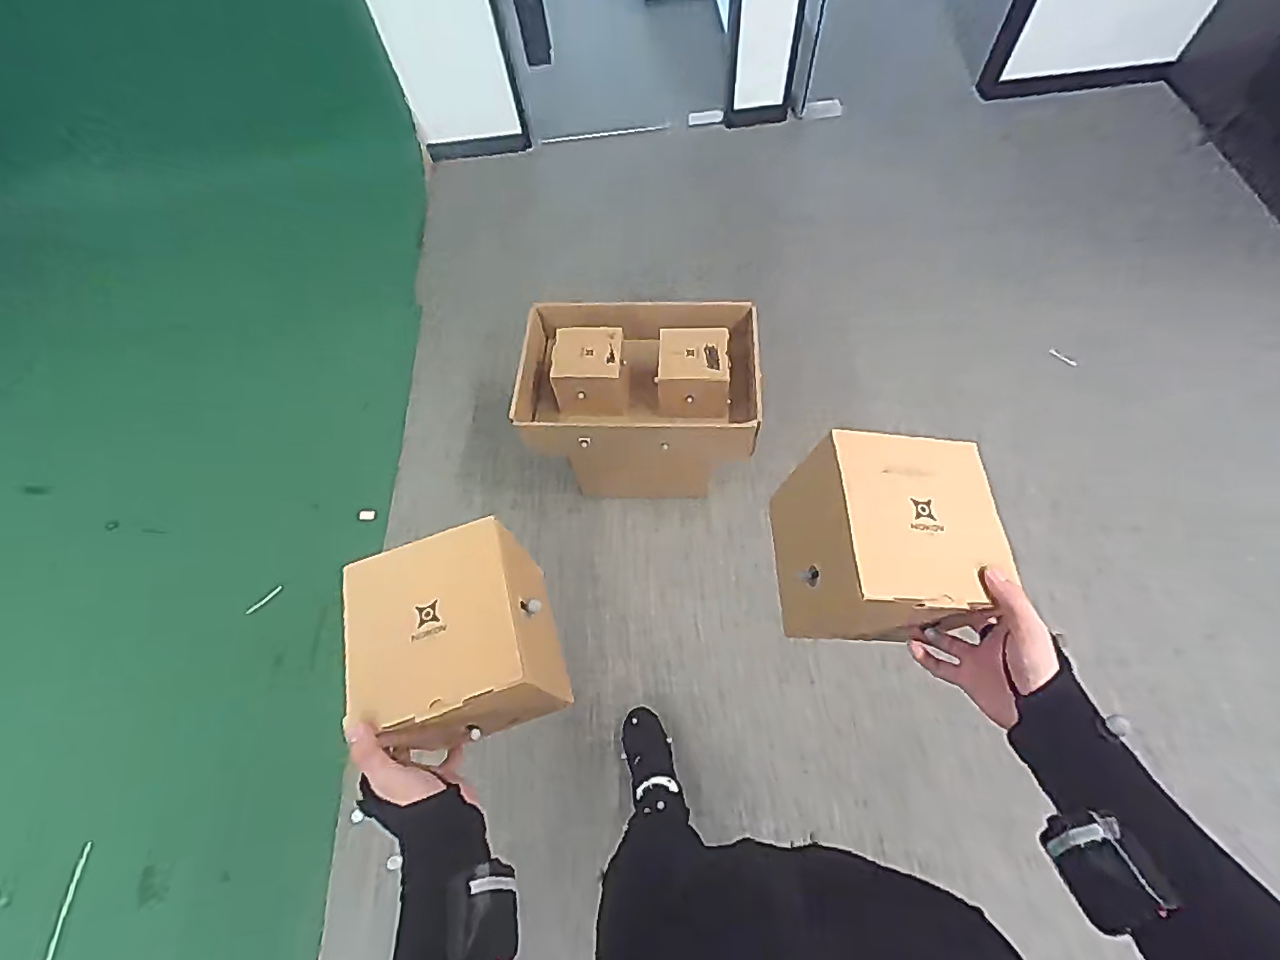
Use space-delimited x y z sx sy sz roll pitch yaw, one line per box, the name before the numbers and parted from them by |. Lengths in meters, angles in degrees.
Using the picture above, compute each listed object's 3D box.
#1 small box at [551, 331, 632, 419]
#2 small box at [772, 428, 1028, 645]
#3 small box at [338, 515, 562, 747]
small box | -0.122 -0.274 1.433 0.179 0.176 0.168 1 62 6
small box | 0.252 0.070 0.574 0.168 0.176 0.179 7 61 -9
small box | -0.194 0.168 0.579 0.168 0.176 0.179 -18 60 -2
